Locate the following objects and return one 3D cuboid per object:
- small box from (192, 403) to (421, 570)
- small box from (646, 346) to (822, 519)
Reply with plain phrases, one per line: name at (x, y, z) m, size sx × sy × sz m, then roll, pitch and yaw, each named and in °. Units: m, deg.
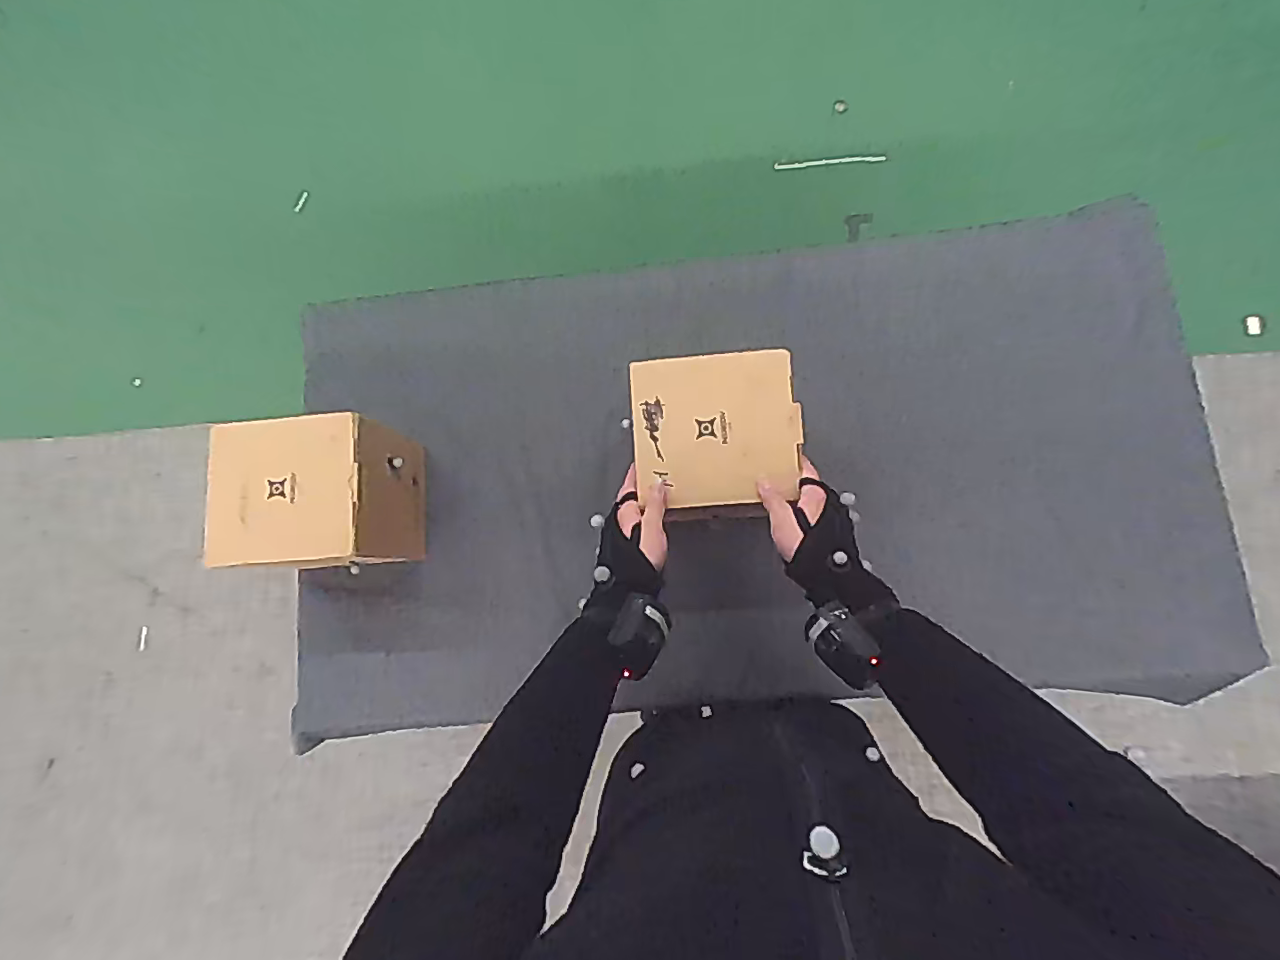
small box at (-0.380, 0.018, 0.649) m, size 0.179 × 0.176 × 0.168 m, roll -6°, pitch 78°, yaw 2°
small box at (0.097, -0.046, 0.641) m, size 0.179 × 0.176 × 0.168 m, roll -3°, pitch 80°, yaw 1°
